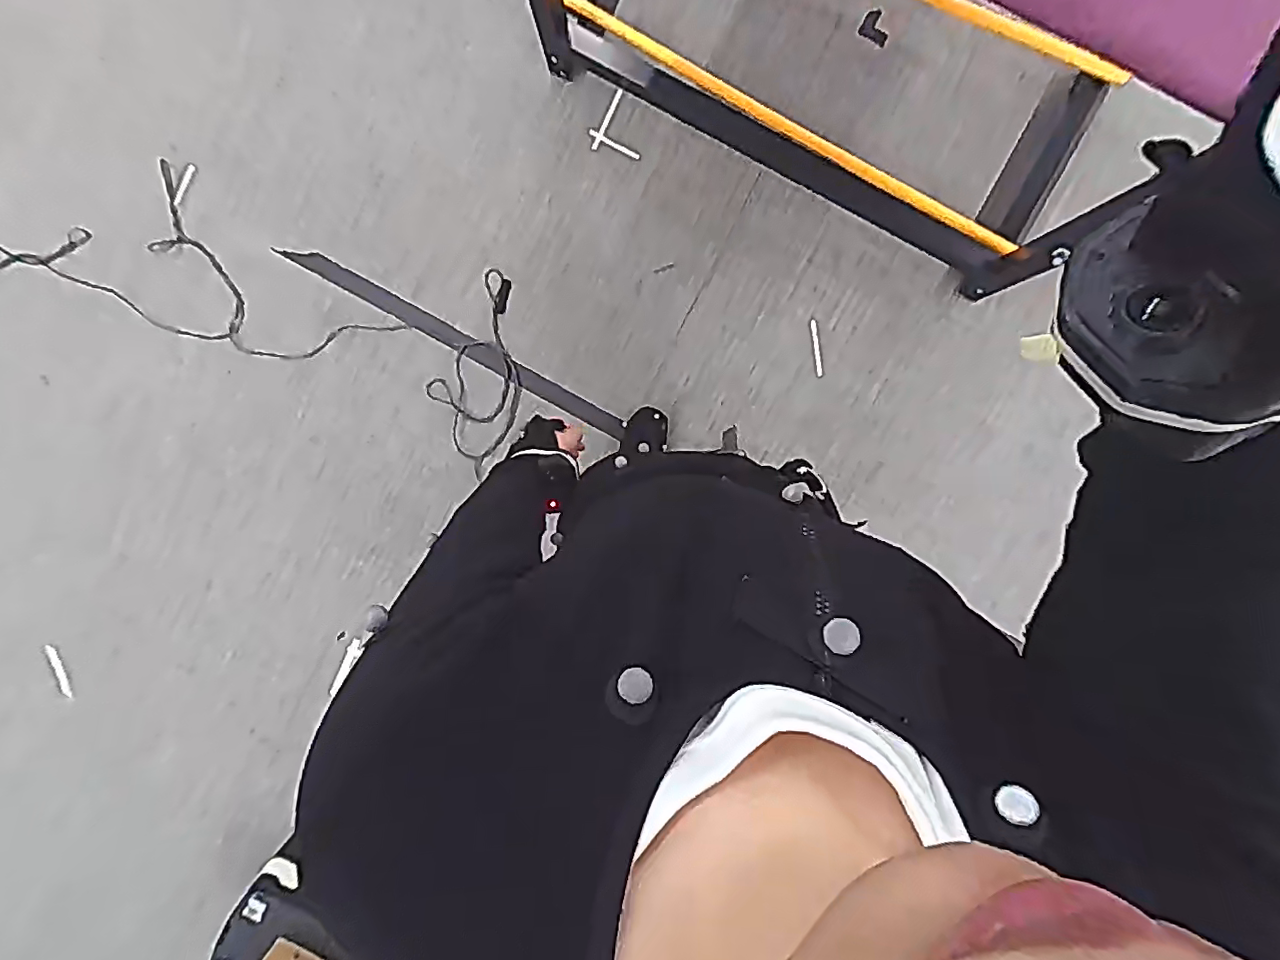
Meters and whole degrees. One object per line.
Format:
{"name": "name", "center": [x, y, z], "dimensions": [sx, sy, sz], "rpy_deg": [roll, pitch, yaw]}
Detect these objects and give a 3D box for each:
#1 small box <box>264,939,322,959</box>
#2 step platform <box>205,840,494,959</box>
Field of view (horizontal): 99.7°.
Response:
{"name": "small box", "center": [-0.843, 1.223, 1.236], "dimensions": [0.168, 0.176, 0.179], "rpy_deg": [30, 94, -2]}
{"name": "step platform", "center": [-0.747, 1.260, 1.411], "dimensions": [0.684, 0.204, 0.286], "rpy_deg": [28, 95, -2]}
